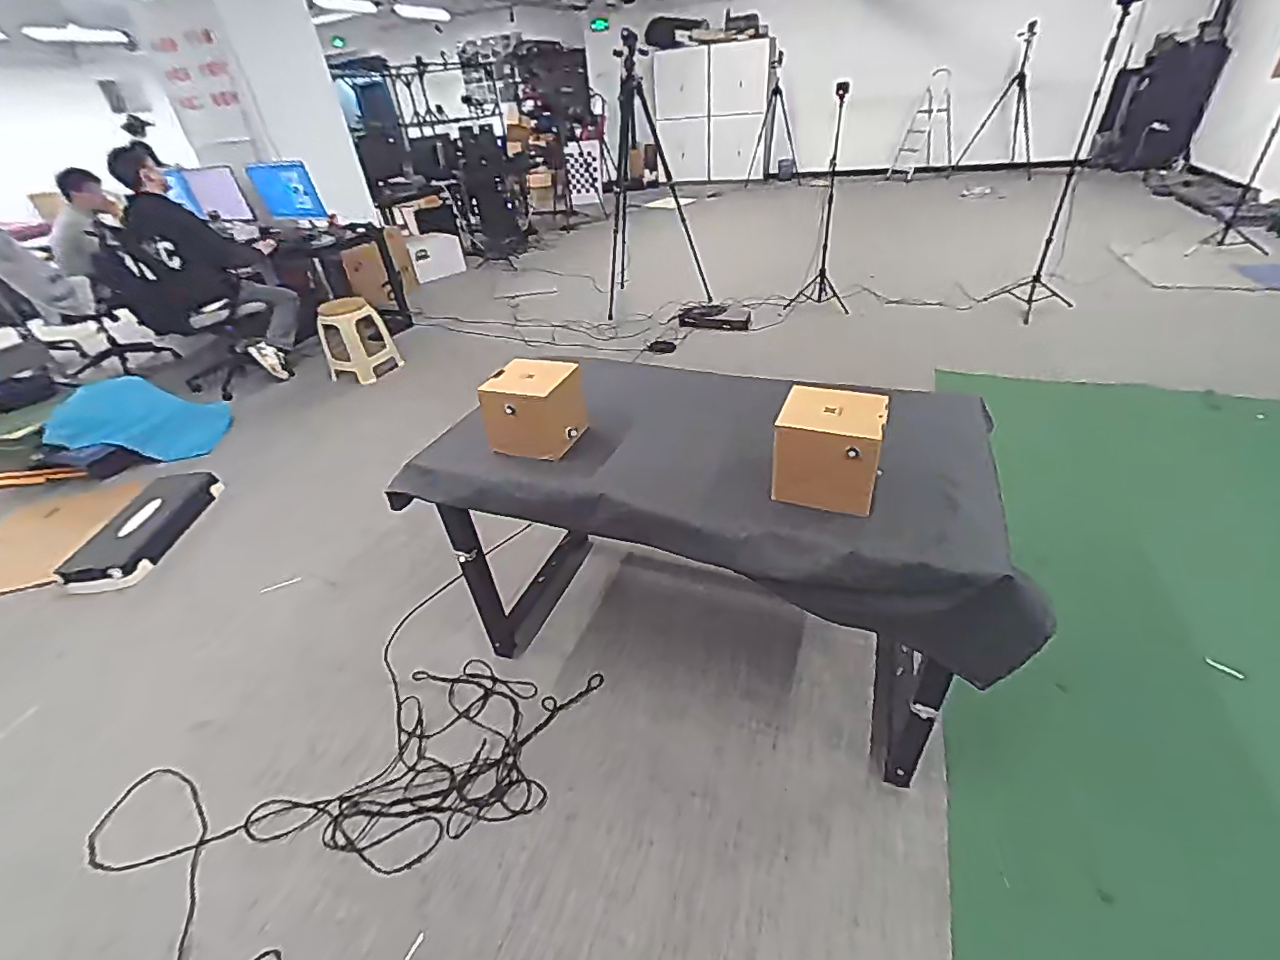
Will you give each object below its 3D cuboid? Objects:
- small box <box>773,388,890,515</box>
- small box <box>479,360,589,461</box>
[{"bbox_3d":[0.354,-0.055,1.010,0.179,0.176,0.168,11,38,22],"label":"small box"},{"bbox_3d":[-0.235,-0.161,1.244,0.179,0.176,0.168,10,39,19],"label":"small box"}]
